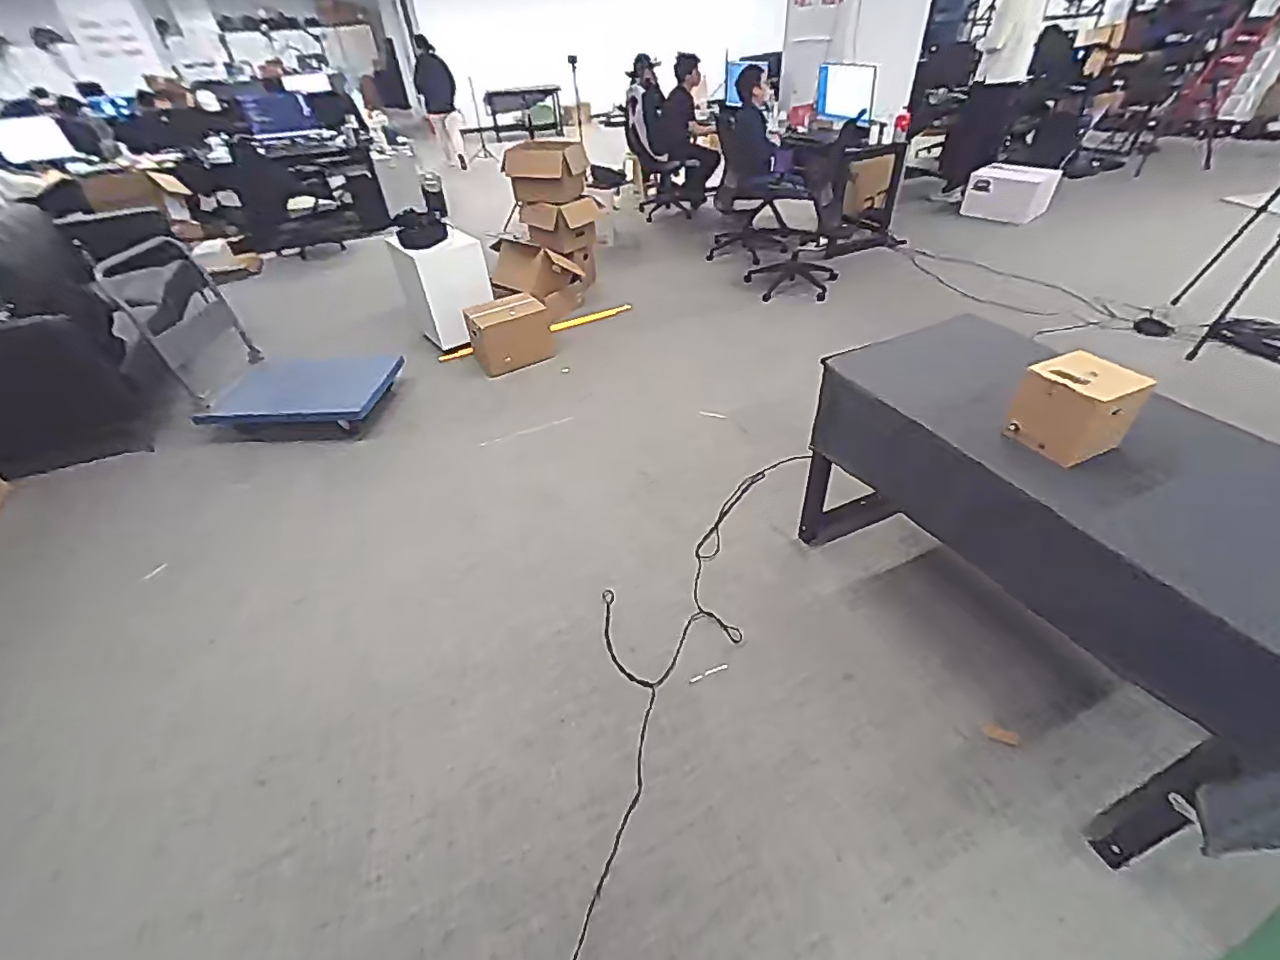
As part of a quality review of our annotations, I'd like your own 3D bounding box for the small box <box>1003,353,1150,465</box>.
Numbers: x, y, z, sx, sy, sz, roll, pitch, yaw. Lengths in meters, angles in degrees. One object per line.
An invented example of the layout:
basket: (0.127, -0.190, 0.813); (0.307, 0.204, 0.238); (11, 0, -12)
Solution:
small box: (0.949, -0.156, 1.198); (0.179, 0.176, 0.168); (-18, 42, -17)
